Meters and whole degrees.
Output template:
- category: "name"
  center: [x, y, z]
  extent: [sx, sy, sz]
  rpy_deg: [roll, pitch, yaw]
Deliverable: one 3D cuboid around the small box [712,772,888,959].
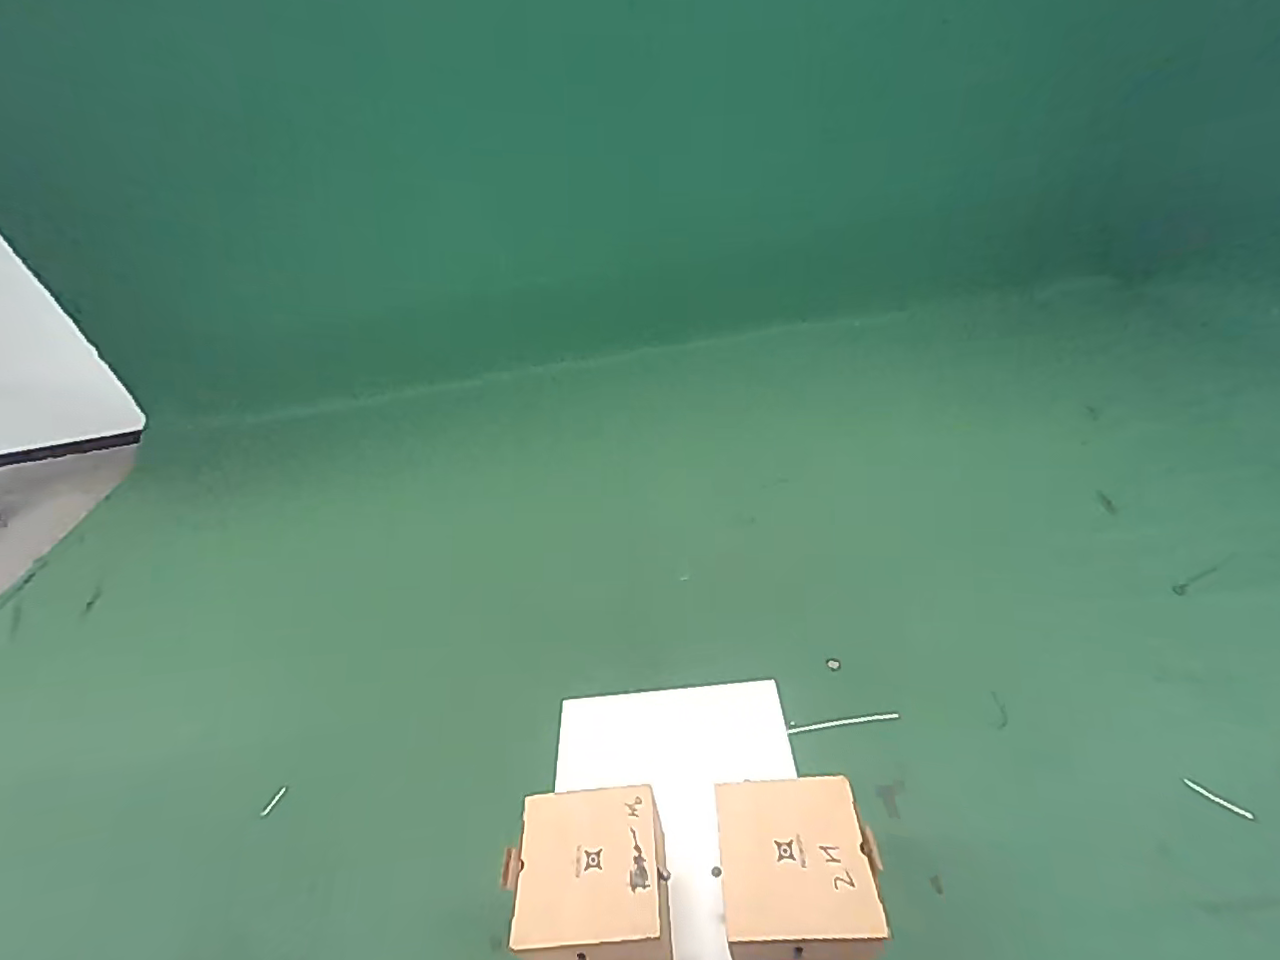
- category: "small box"
  center: [0.190, 0.495, 0.686]
  extent: [0.179, 0.176, 0.168]
  rpy_deg: [-6, 39, 5]
